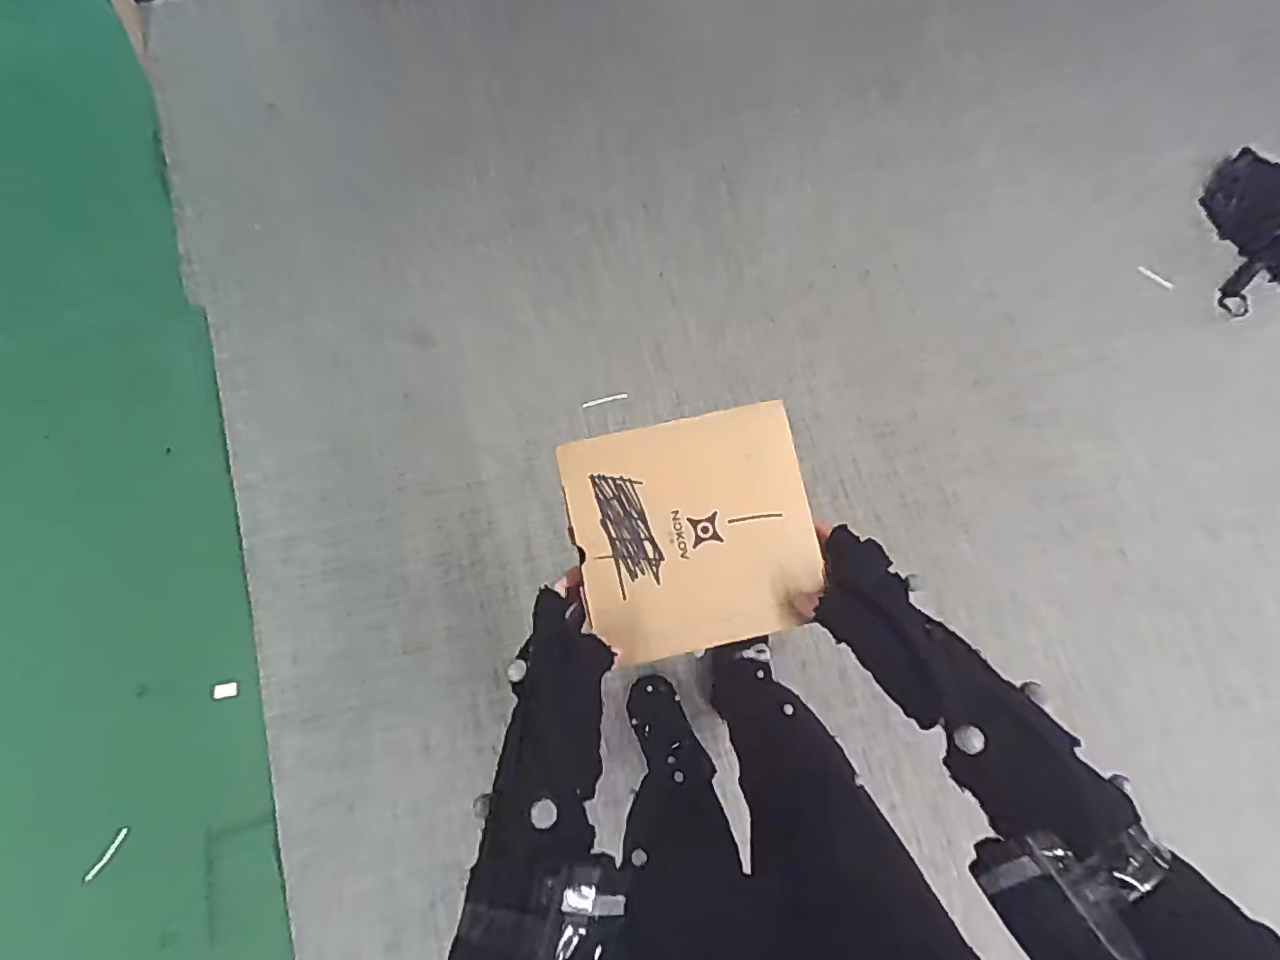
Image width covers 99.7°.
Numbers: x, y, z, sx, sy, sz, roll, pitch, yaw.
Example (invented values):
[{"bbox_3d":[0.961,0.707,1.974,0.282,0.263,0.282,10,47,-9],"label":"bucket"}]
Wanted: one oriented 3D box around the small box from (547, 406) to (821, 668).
[{"bbox_3d":[0.031,0.049,0.473,0.179,0.176,0.168,-12,84,-2],"label":"small box"}]
